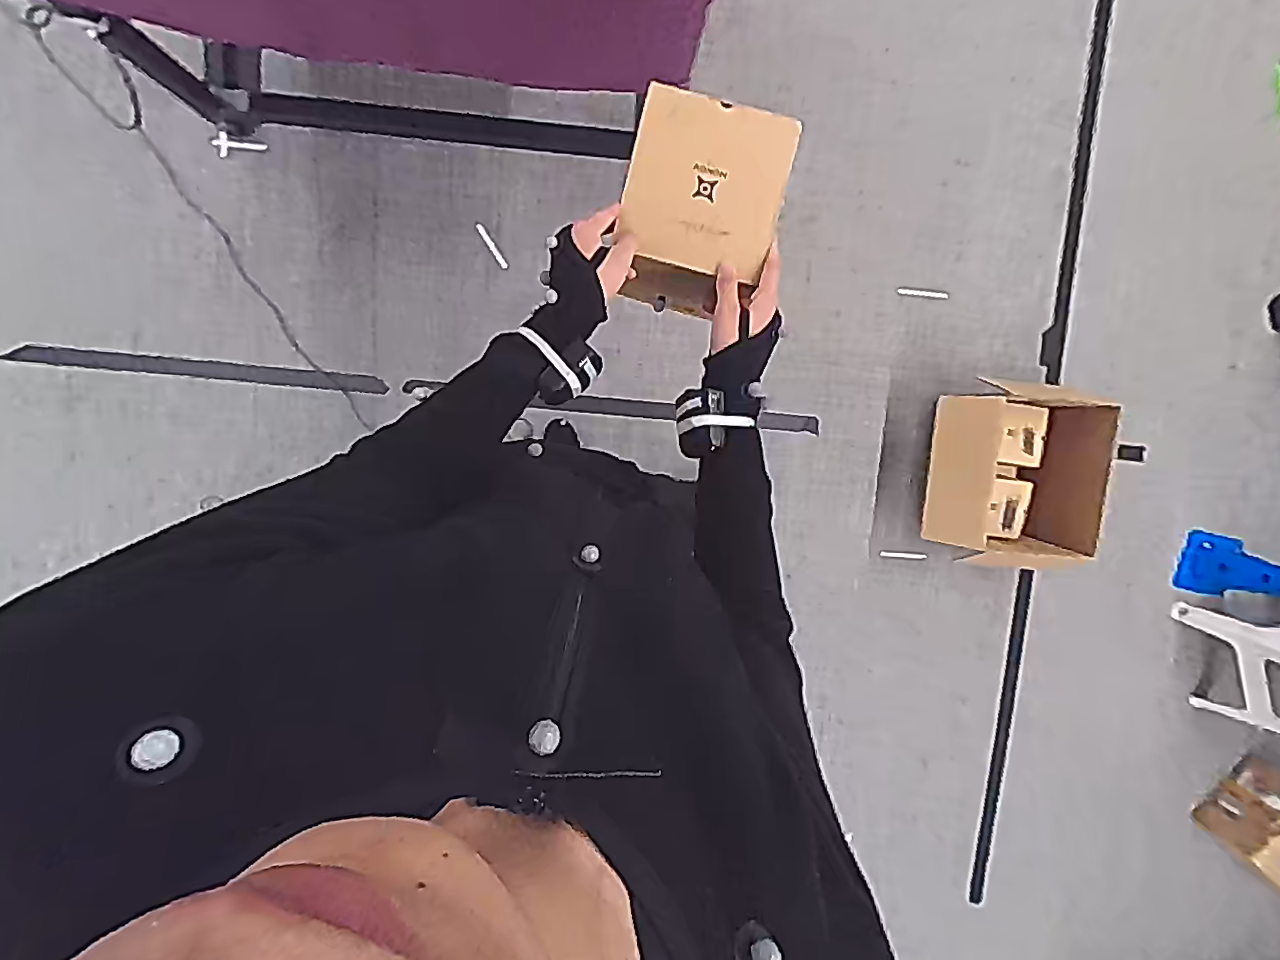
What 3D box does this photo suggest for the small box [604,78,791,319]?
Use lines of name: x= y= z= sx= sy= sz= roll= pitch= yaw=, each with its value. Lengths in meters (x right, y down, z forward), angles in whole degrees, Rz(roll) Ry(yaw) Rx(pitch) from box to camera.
small box: x=0.057 y=-0.314 z=0.641 sx=0.168 sy=0.176 sz=0.179 roll=14 pitch=92 yaw=-1
